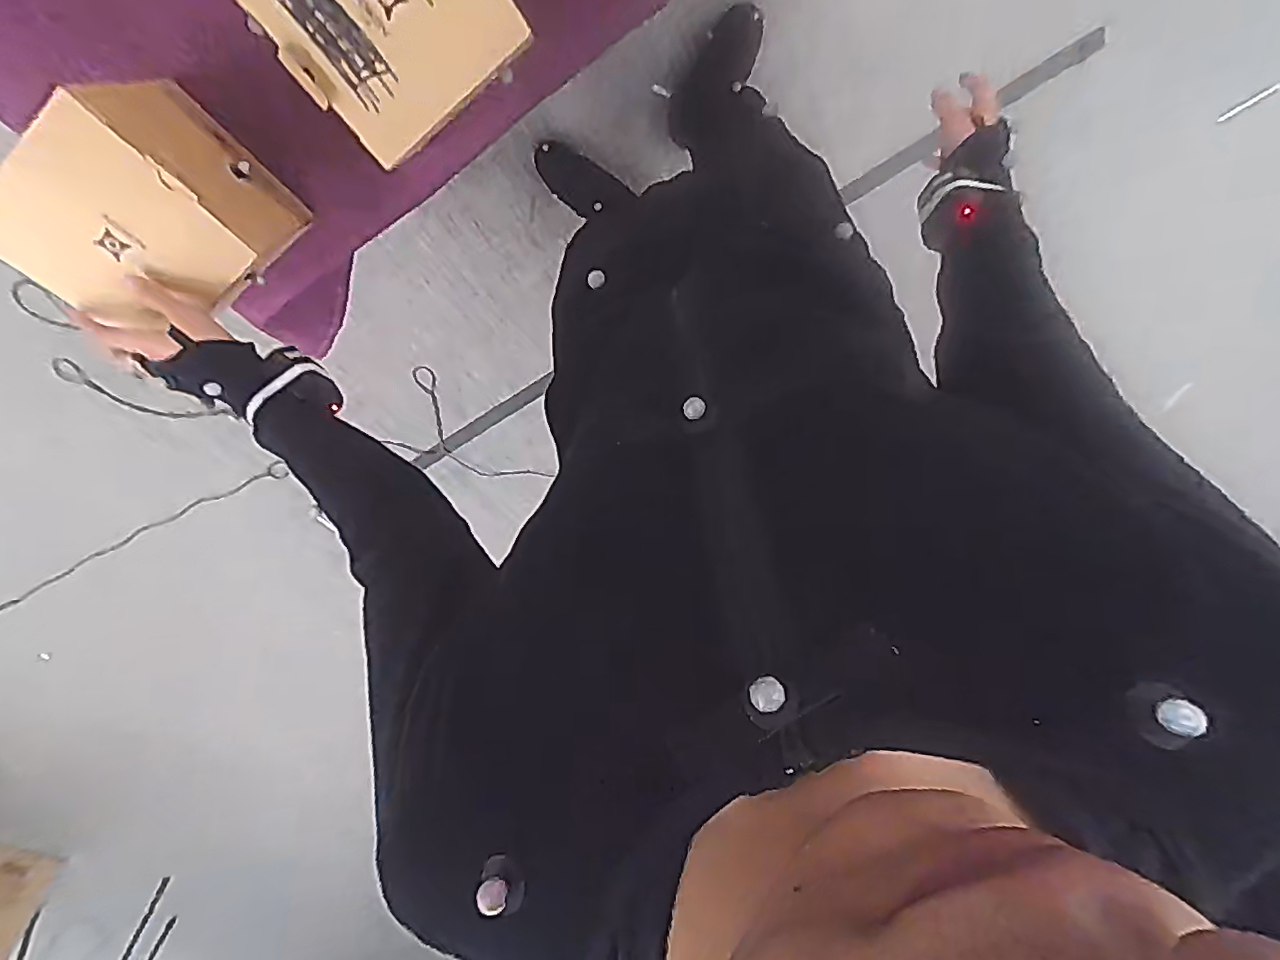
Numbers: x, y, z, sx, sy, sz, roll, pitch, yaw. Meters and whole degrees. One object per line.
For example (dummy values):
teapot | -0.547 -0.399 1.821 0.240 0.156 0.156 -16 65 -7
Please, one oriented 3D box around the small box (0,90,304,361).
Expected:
small box | -0.492 -0.263 0.560 0.179 0.176 0.168 -35 125 14
